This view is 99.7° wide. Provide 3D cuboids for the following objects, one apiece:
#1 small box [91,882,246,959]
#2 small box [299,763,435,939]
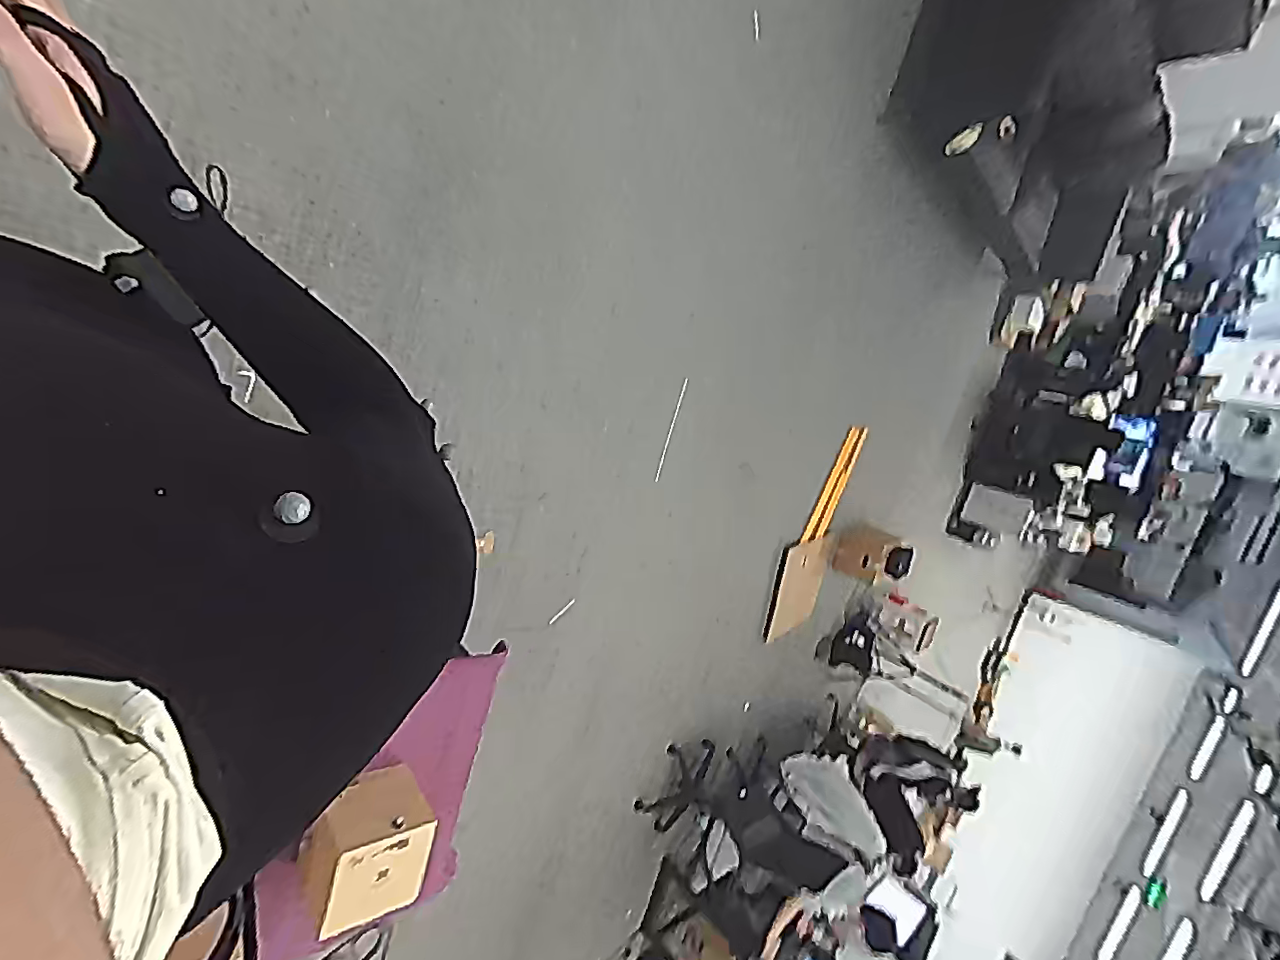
[{"bbox_3d":[-0.731,0.769,0.829,0.168,0.176,0.179,7,103,-45],"label":"small box"},{"bbox_3d":[-0.509,0.668,0.998,0.168,0.176,0.179,9,102,-47],"label":"small box"}]
